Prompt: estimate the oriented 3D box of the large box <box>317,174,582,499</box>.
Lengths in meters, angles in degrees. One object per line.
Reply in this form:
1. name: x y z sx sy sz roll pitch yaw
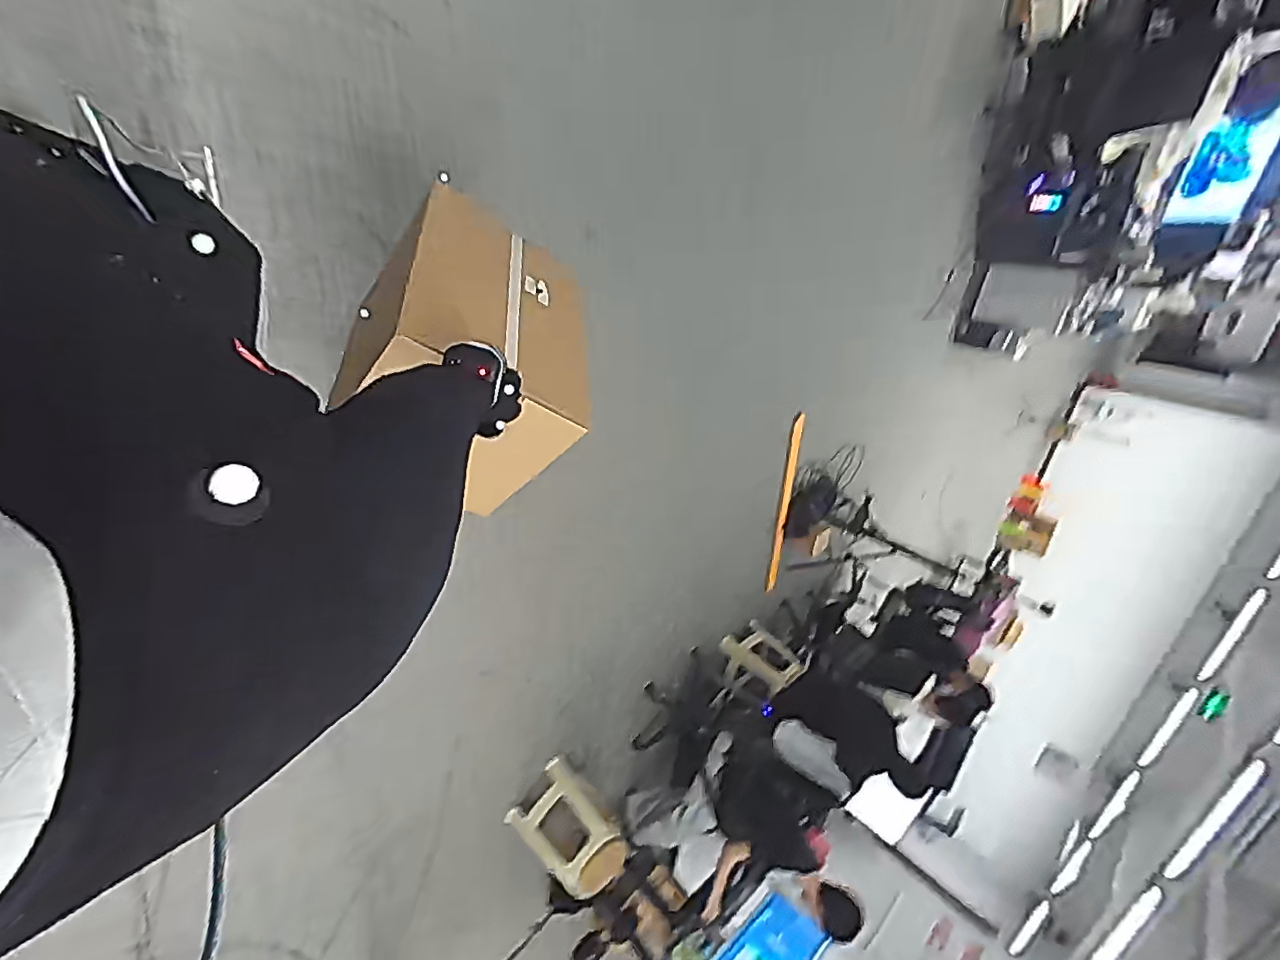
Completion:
1. large box: -0.329 -0.236 0.970 0.320 0.408 0.320 25 133 -38
